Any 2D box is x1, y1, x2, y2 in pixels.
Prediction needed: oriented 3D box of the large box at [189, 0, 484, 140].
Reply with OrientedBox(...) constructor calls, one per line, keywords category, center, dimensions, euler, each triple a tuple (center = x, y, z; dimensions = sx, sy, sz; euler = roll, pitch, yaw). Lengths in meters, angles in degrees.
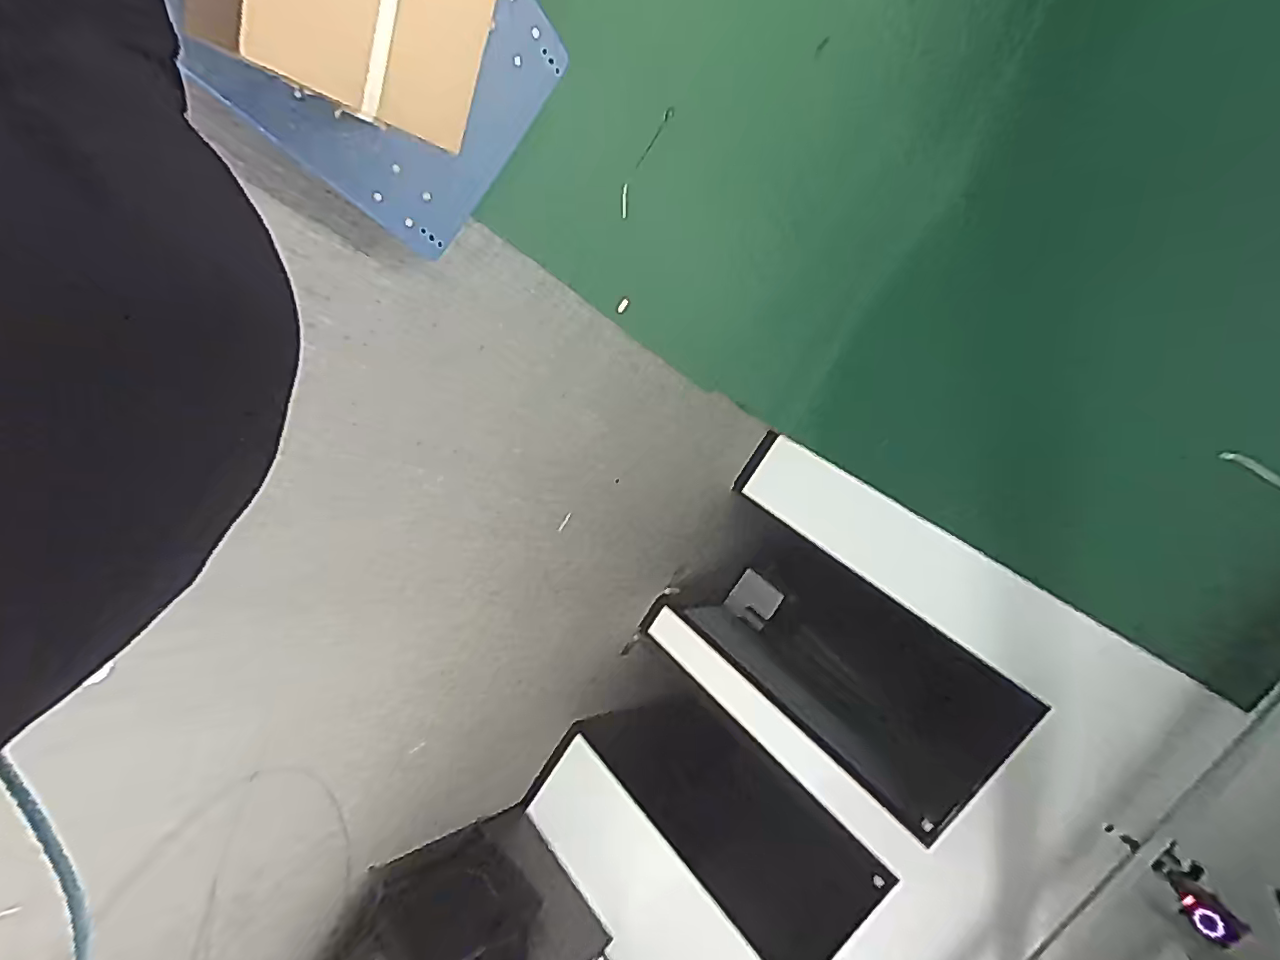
OrientedBox(category="large box", center=(-0.438, -0.802, 0.798), dimensions=(0.320, 0.320, 0.408), euler=(-4, 124, -50))
